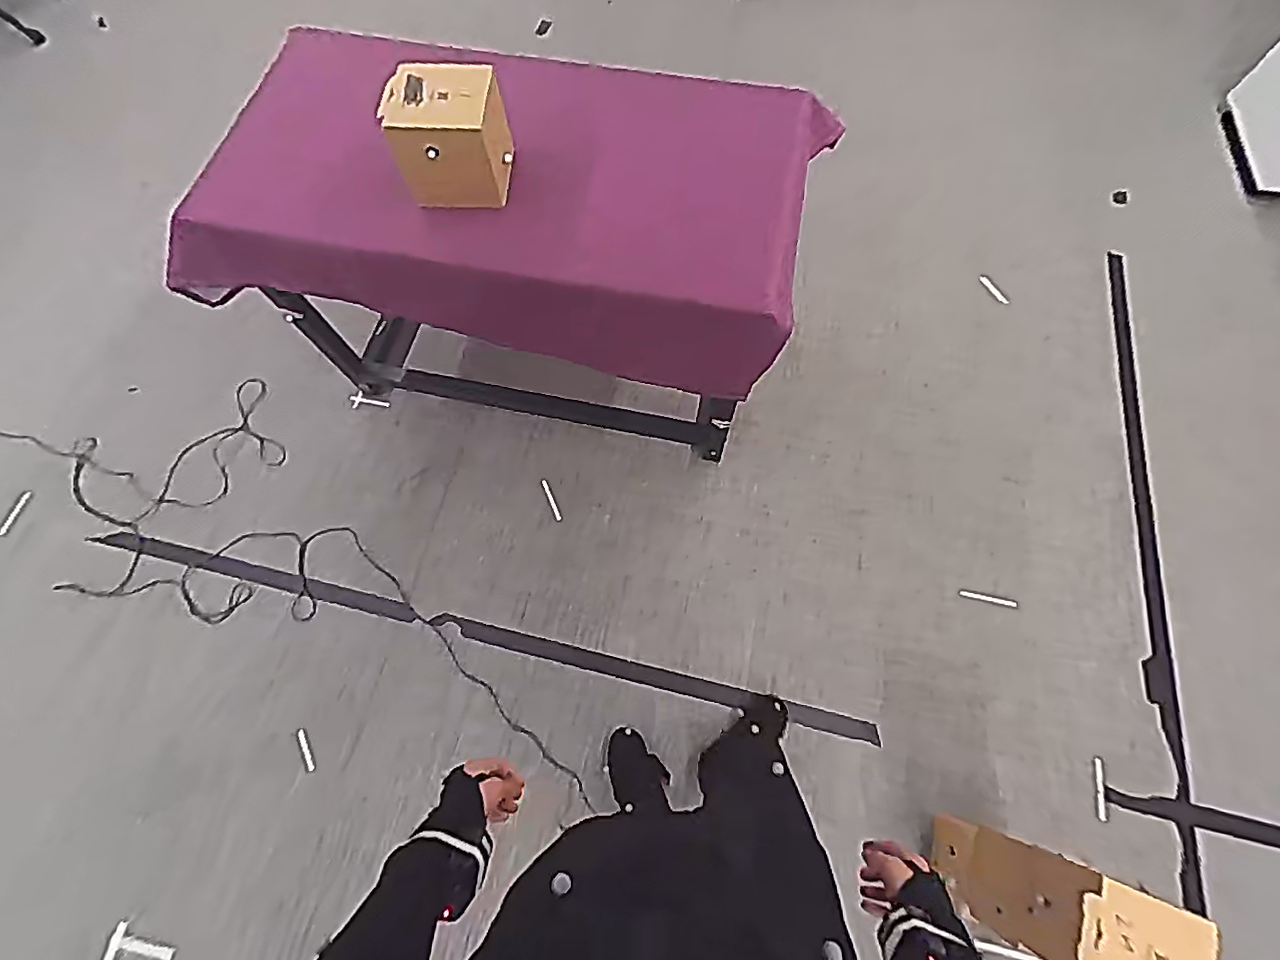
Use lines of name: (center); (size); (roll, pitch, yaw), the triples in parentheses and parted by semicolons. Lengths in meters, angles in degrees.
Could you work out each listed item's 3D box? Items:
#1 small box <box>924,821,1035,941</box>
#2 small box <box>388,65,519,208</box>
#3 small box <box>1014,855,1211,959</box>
small box: (0.765, 0.892, 1.209); (0.179, 0.176, 0.168); (16, 70, 7)
small box: (-0.343, -0.646, 1.029); (0.179, 0.176, 0.168); (2, 69, 1)
small box: (0.777, 0.769, 0.903); (0.179, 0.176, 0.168); (21, 71, 9)
